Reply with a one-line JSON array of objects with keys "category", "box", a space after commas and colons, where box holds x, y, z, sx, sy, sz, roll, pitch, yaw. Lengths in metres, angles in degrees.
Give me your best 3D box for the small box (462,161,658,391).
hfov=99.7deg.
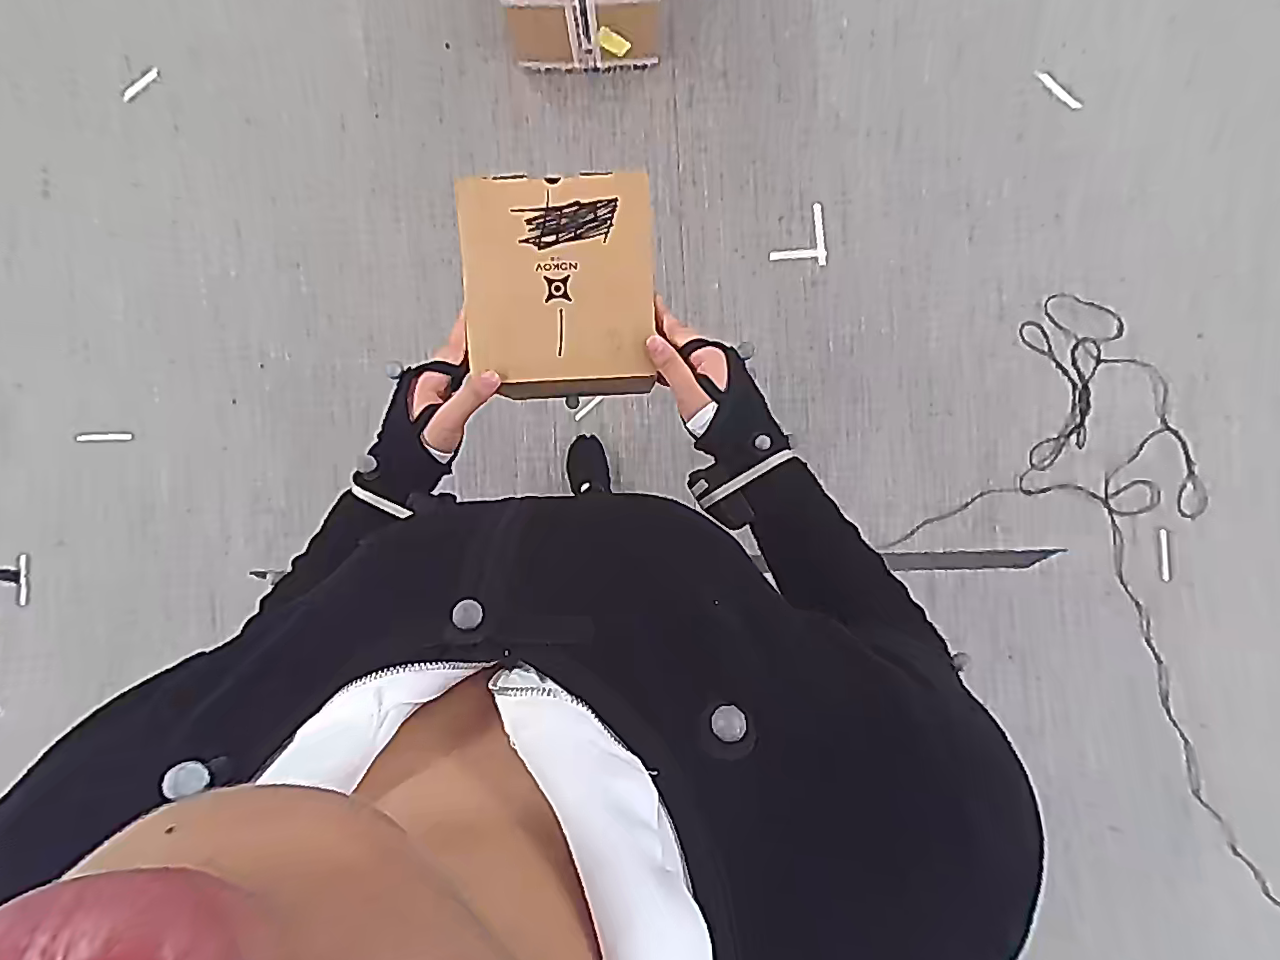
[{"category": "small box", "box": [-0.070, -0.189, 0.545, 0.168, 0.176, 0.179, -2, 94, -1]}]
